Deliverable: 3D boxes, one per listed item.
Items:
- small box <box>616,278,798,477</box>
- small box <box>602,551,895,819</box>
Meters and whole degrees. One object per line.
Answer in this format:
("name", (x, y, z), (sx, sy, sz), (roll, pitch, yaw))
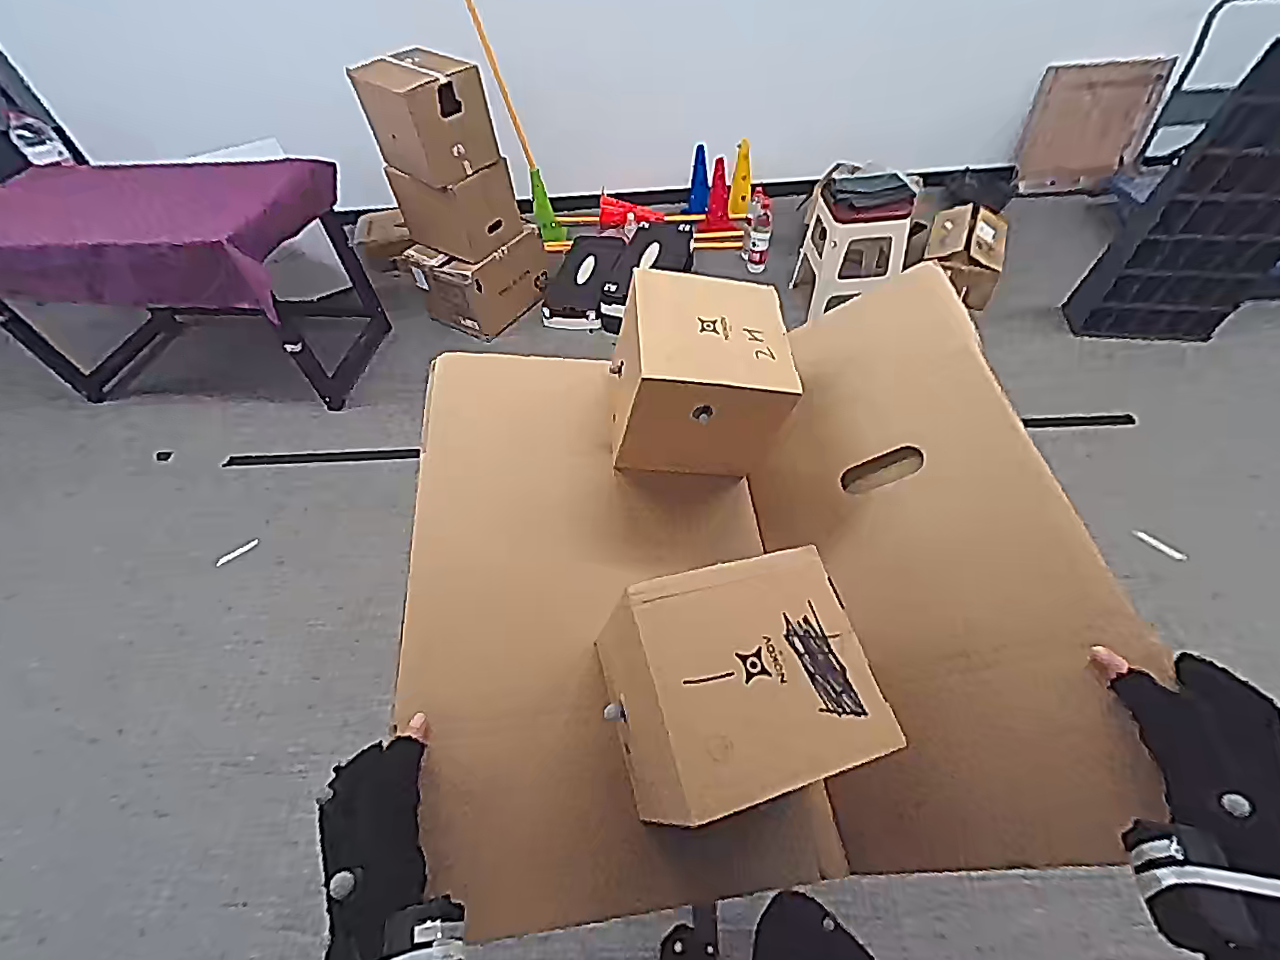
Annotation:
("small box", (0.066, -0.116, 0.664), (0.179, 0.176, 0.168), (5, 59, -11))
("small box", (0.077, 0.182, 0.484), (0.179, 0.176, 0.168), (-9, 62, -17))
